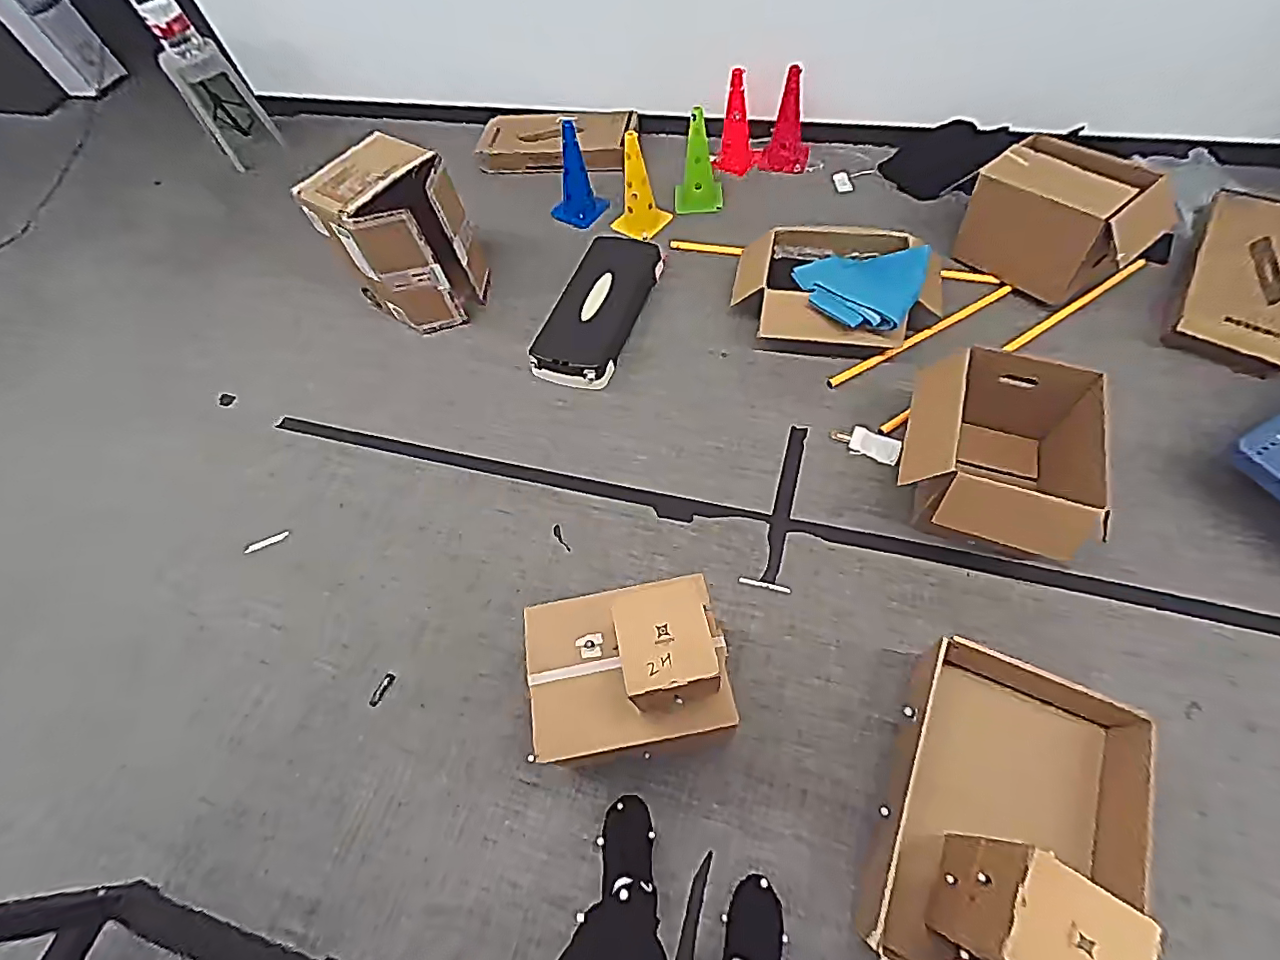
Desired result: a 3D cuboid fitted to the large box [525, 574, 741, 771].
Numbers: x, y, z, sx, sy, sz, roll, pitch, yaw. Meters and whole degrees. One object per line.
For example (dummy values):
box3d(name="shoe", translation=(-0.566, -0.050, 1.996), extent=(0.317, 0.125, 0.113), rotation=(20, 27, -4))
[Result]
box3d(name="large box", translation=(-0.010, 0.449, 1.230), extent=(0.408, 0.320, 0.320), rotation=(-13, 59, 1))

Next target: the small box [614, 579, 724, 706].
box3d(name="small box", translation=(0.054, 0.309, 1.017), extent=(0.168, 0.176, 0.179), rotation=(-14, 60, 0))
